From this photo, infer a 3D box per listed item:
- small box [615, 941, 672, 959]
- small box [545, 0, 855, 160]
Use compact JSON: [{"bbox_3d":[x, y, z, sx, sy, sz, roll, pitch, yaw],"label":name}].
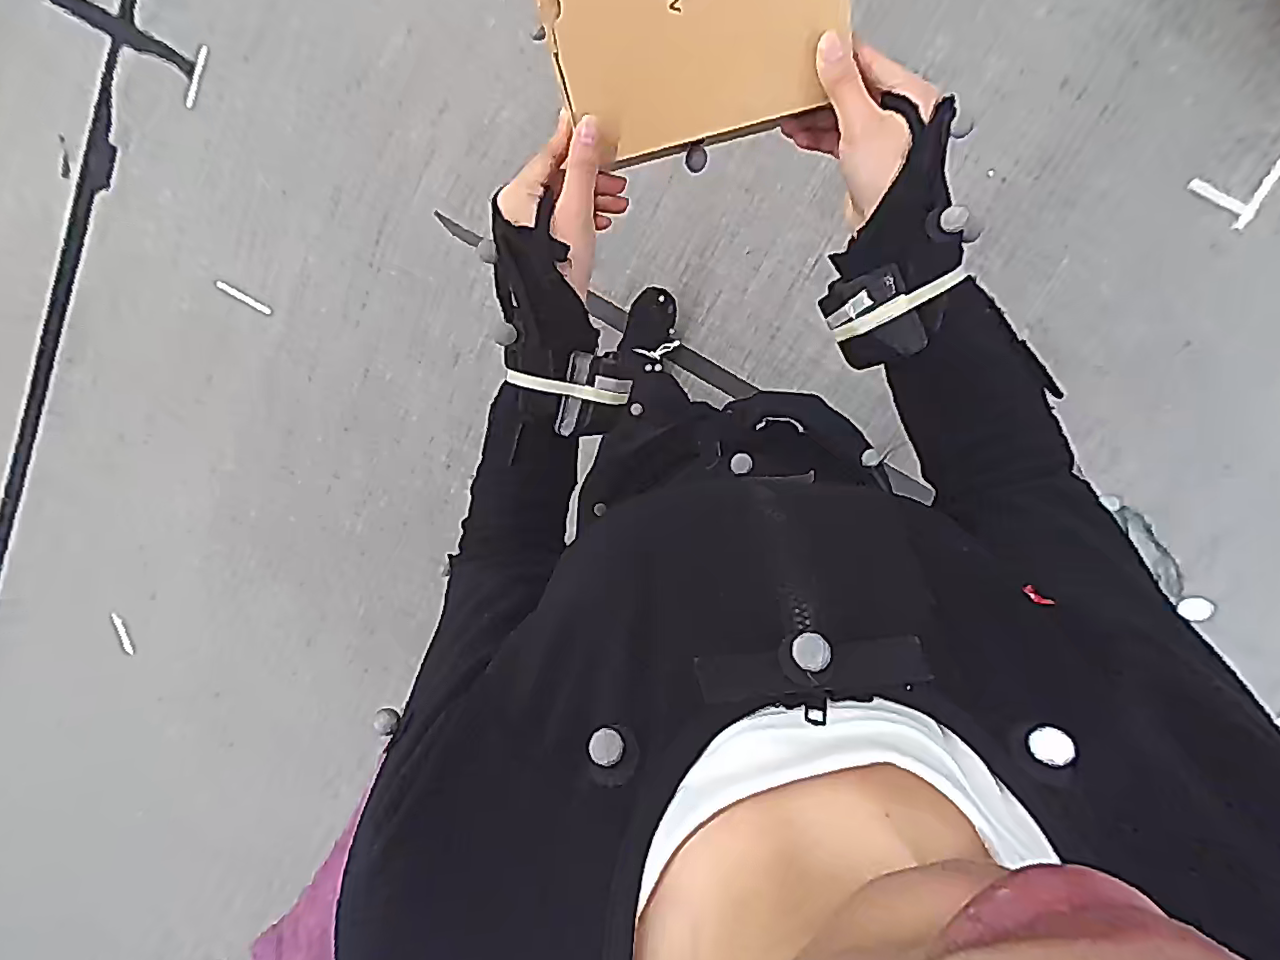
[{"bbox_3d":[0.006,0.794,0.730,0.168,0.176,0.179,30,103,-3],"label":"small box"},{"bbox_3d":[0.025,-0.331,0.367,0.179,0.176,0.168,-13,118,2],"label":"small box"}]
